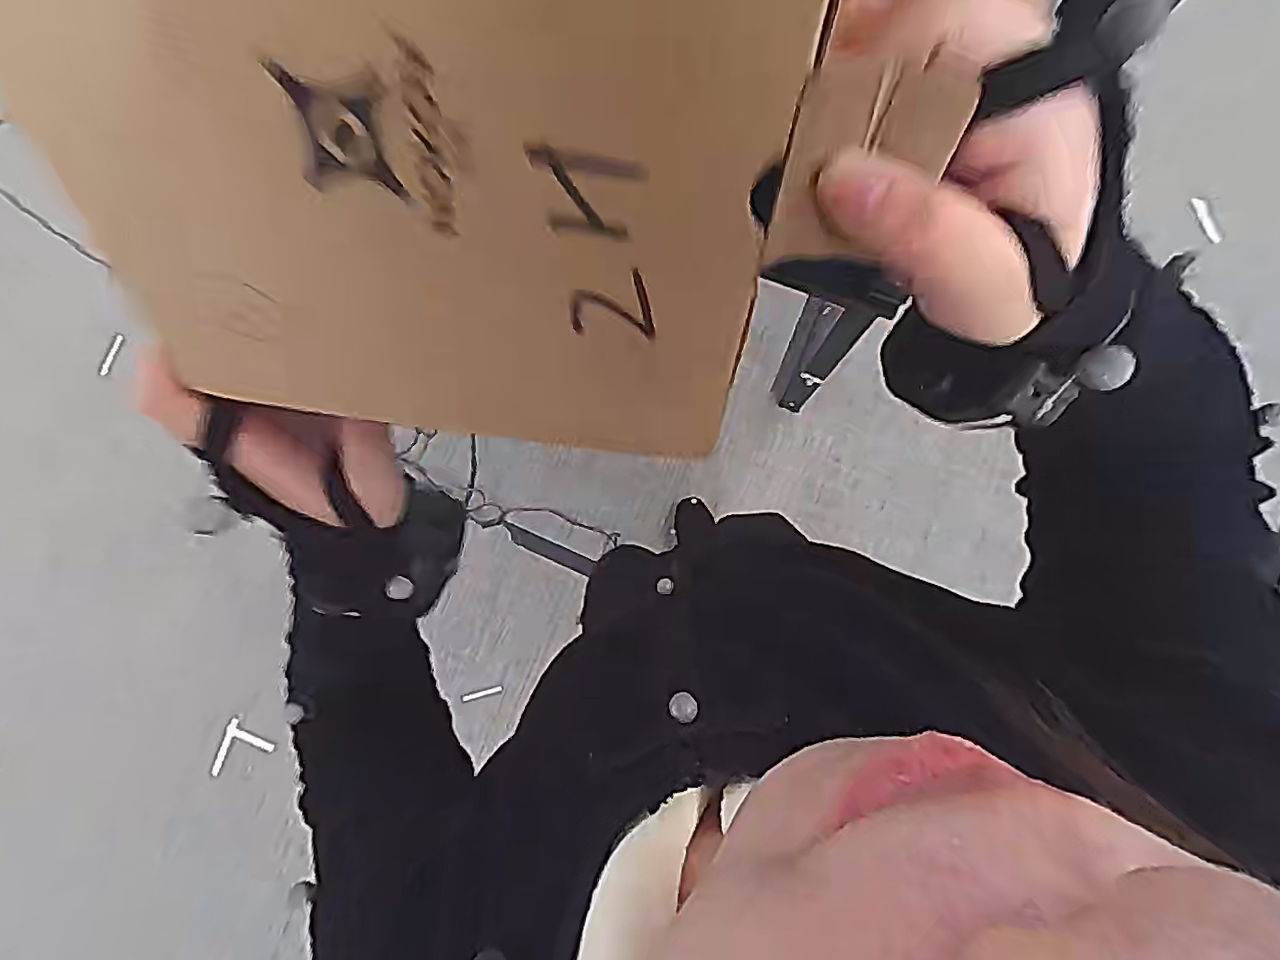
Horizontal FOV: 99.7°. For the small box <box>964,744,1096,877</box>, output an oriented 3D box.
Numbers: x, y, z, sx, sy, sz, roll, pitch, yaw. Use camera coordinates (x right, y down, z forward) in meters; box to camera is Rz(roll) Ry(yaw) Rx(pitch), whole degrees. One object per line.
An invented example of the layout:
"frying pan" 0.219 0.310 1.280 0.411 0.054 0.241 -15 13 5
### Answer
"small box" 0.911 0.774 1.286 0.168 0.176 0.179 28 89 7
